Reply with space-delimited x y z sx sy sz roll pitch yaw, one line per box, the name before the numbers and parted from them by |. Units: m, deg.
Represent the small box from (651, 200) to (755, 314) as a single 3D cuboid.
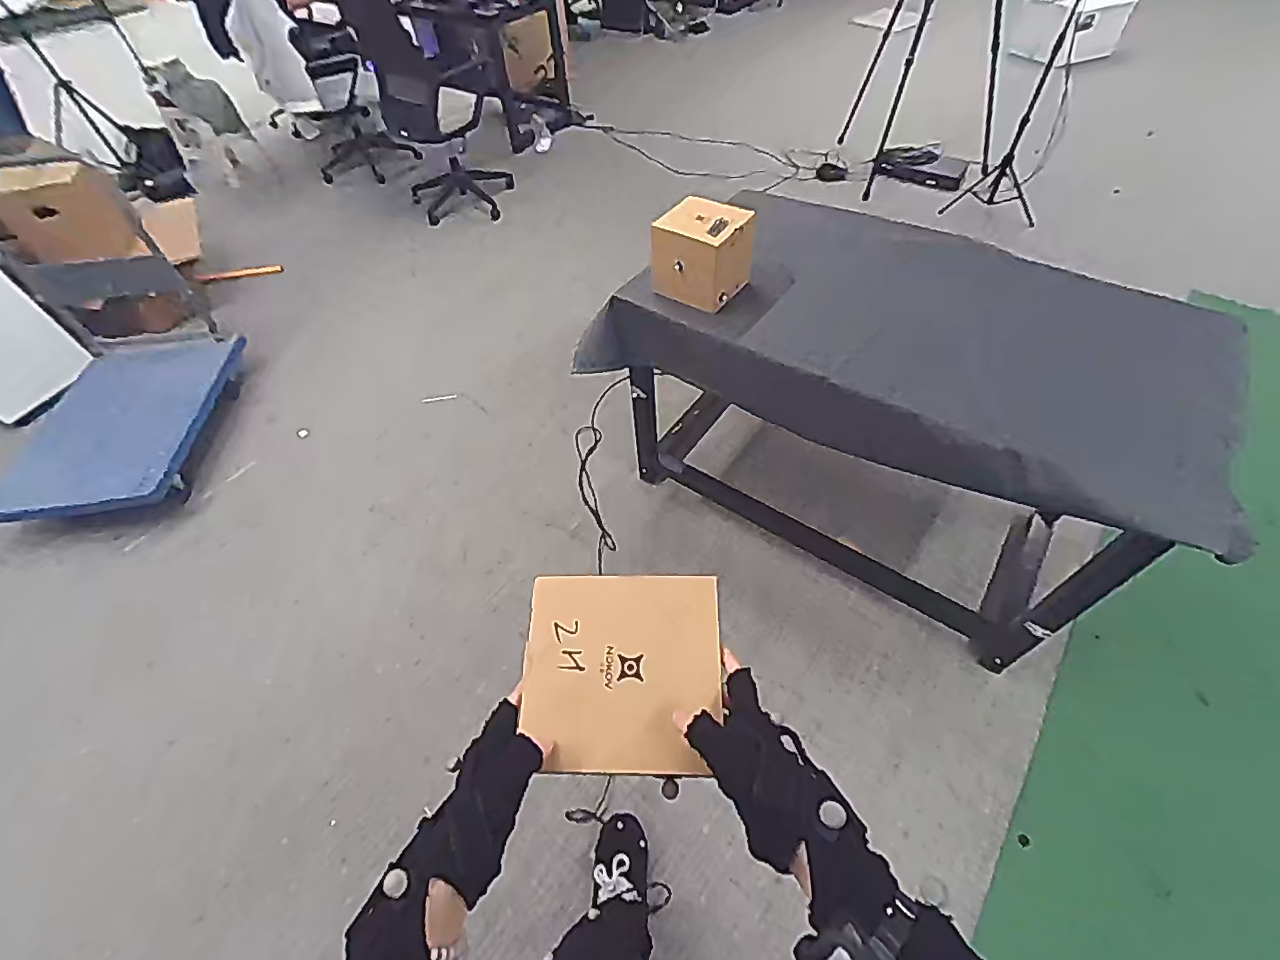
small box | 0.143 -0.510 1.249 0.179 0.176 0.168 29 58 24
